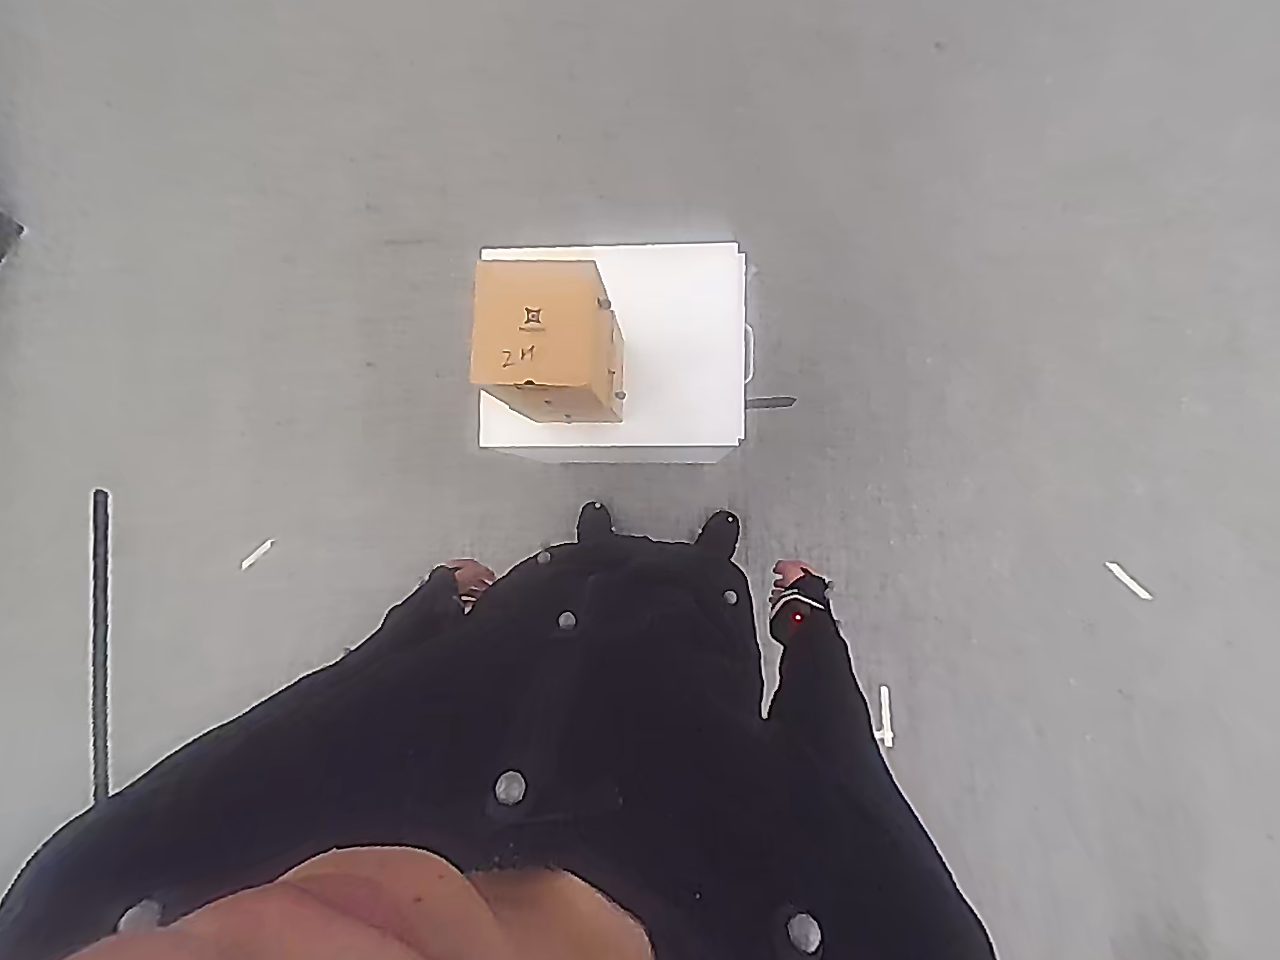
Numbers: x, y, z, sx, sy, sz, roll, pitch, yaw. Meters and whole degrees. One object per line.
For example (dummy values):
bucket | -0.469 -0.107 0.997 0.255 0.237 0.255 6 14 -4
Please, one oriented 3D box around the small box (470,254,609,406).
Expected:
small box | -0.139 -0.214 0.807 0.168 0.176 0.179 3 89 4
